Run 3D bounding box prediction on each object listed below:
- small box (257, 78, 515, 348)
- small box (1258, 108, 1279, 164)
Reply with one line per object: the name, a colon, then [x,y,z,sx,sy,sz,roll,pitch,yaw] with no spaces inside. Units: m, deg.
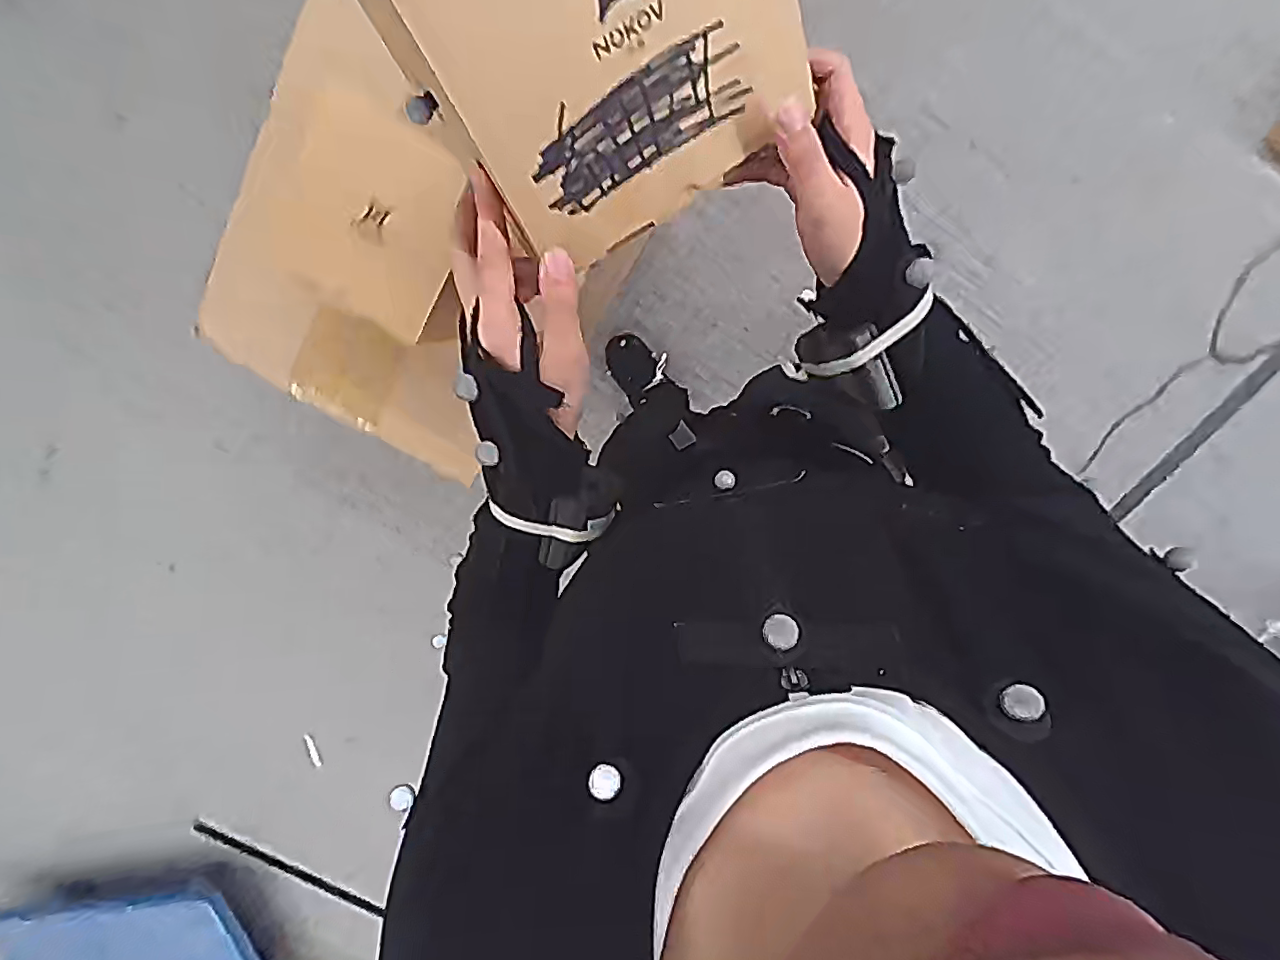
small box: [-0.251,-0.265,0.579,0.168,0.176,0.179,30,106,-8]
small box: [1.399,-0.721,1.048,0.168,0.176,0.179,31,107,-8]
